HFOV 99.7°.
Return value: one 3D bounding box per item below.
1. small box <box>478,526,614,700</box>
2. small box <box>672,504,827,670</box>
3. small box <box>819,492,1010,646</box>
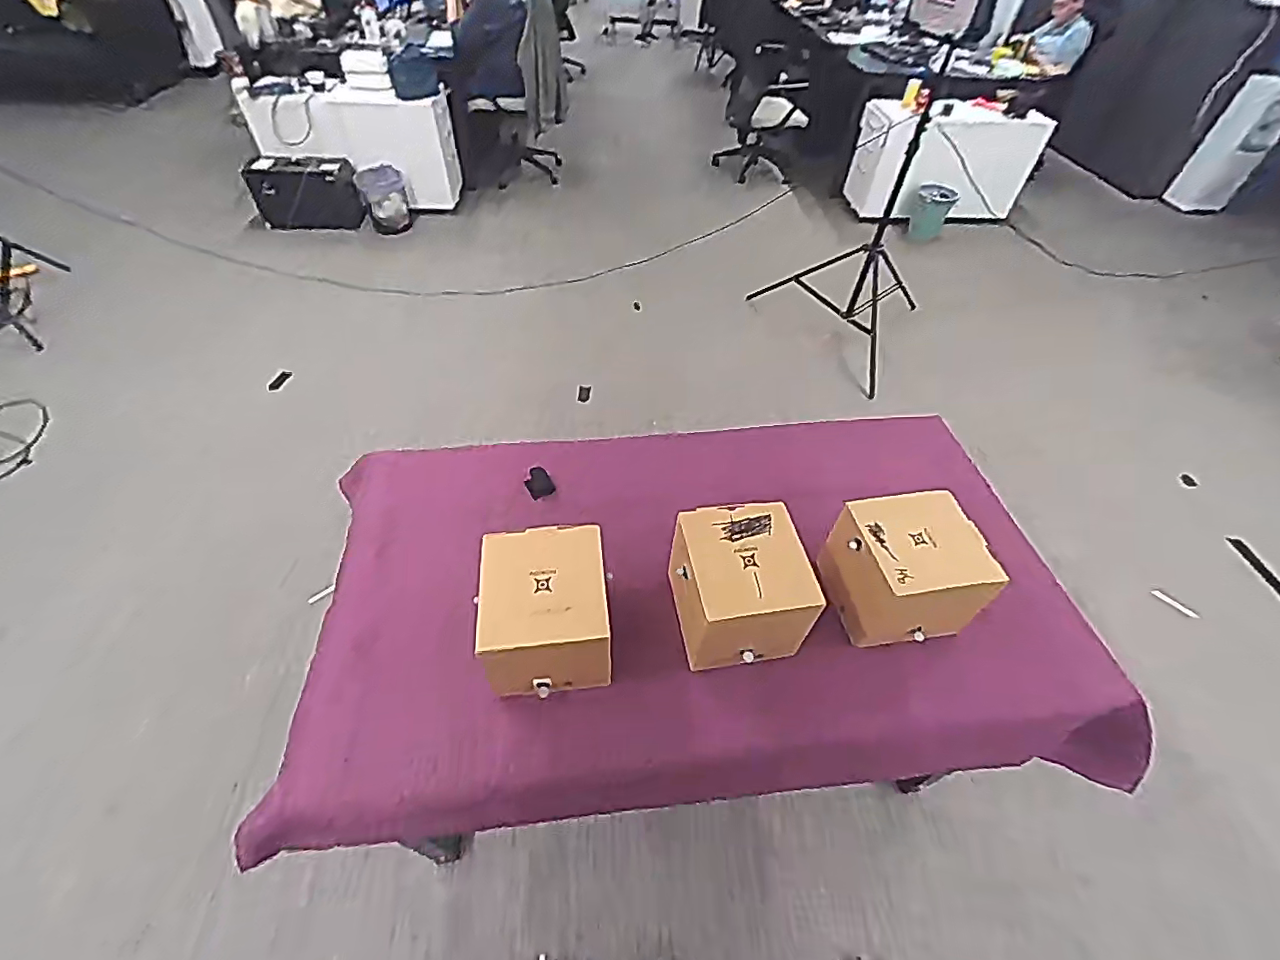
[{"bbox_3d":[-0.128,0.189,0.769,0.168,0.176,0.179,-5,50,-7],"label":"small box"},{"bbox_3d":[0.147,0.160,0.808,0.168,0.176,0.179,-6,50,-8],"label":"small box"},{"bbox_3d":[0.409,0.140,0.840,0.179,0.176,0.168,-5,49,-8],"label":"small box"}]
